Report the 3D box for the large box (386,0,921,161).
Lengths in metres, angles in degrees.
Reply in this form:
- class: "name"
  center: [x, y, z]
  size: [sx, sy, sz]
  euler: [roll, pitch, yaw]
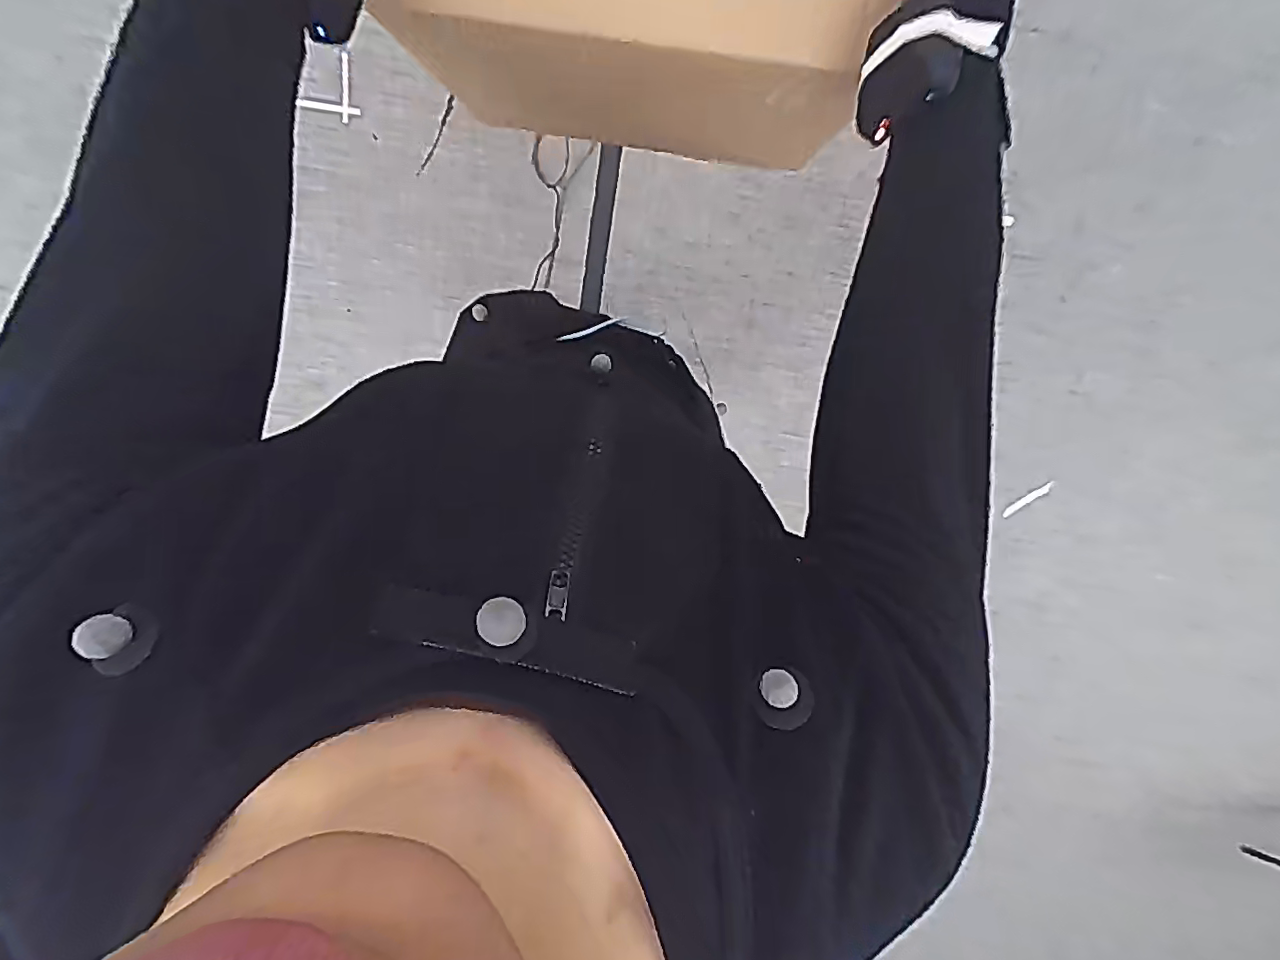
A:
- class: "large box"
  center: [0.021, -0.518, 0.485]
  size: [0.408, 0.320, 0.320]
  euler: [8, 110, -1]
